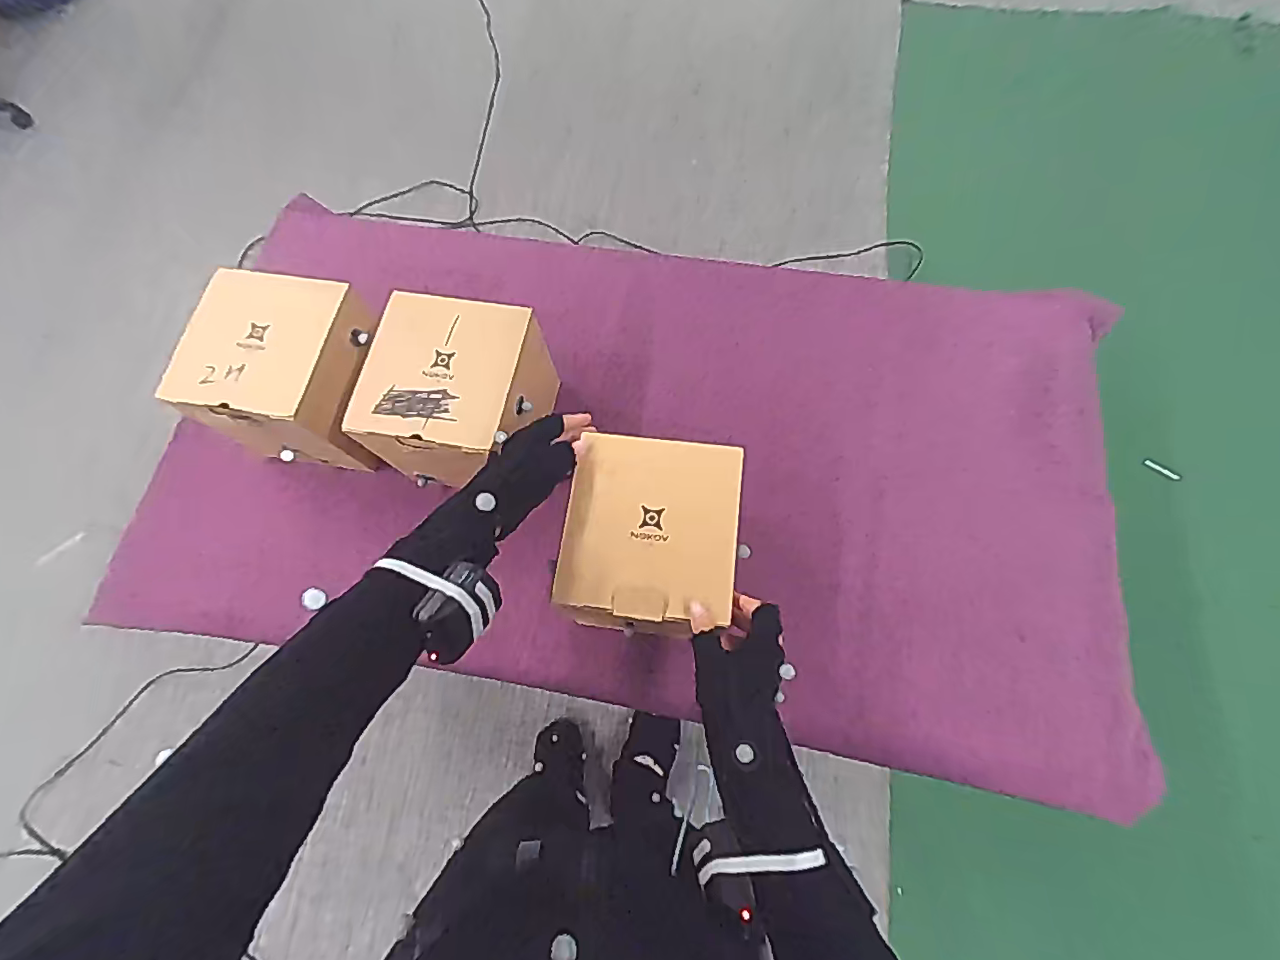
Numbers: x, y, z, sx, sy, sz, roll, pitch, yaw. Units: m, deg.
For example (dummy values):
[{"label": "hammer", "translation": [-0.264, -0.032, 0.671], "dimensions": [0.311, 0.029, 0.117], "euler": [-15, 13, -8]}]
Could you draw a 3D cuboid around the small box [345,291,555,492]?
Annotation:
[{"label": "small box", "translation": [-0.211, -0.097, 0.657], "dimensions": [0.168, 0.176, 0.179], "euler": [9, 72, 6]}]

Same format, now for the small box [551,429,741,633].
[{"label": "small box", "translation": [0.012, 0.064, 0.592], "dimensions": [0.168, 0.176, 0.179], "euler": [6, 72, 5]}]

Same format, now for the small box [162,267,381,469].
[{"label": "small box", "translation": [-0.420, -0.132, 0.678], "dimensions": [0.168, 0.176, 0.179], "euler": [9, 73, 6]}]
